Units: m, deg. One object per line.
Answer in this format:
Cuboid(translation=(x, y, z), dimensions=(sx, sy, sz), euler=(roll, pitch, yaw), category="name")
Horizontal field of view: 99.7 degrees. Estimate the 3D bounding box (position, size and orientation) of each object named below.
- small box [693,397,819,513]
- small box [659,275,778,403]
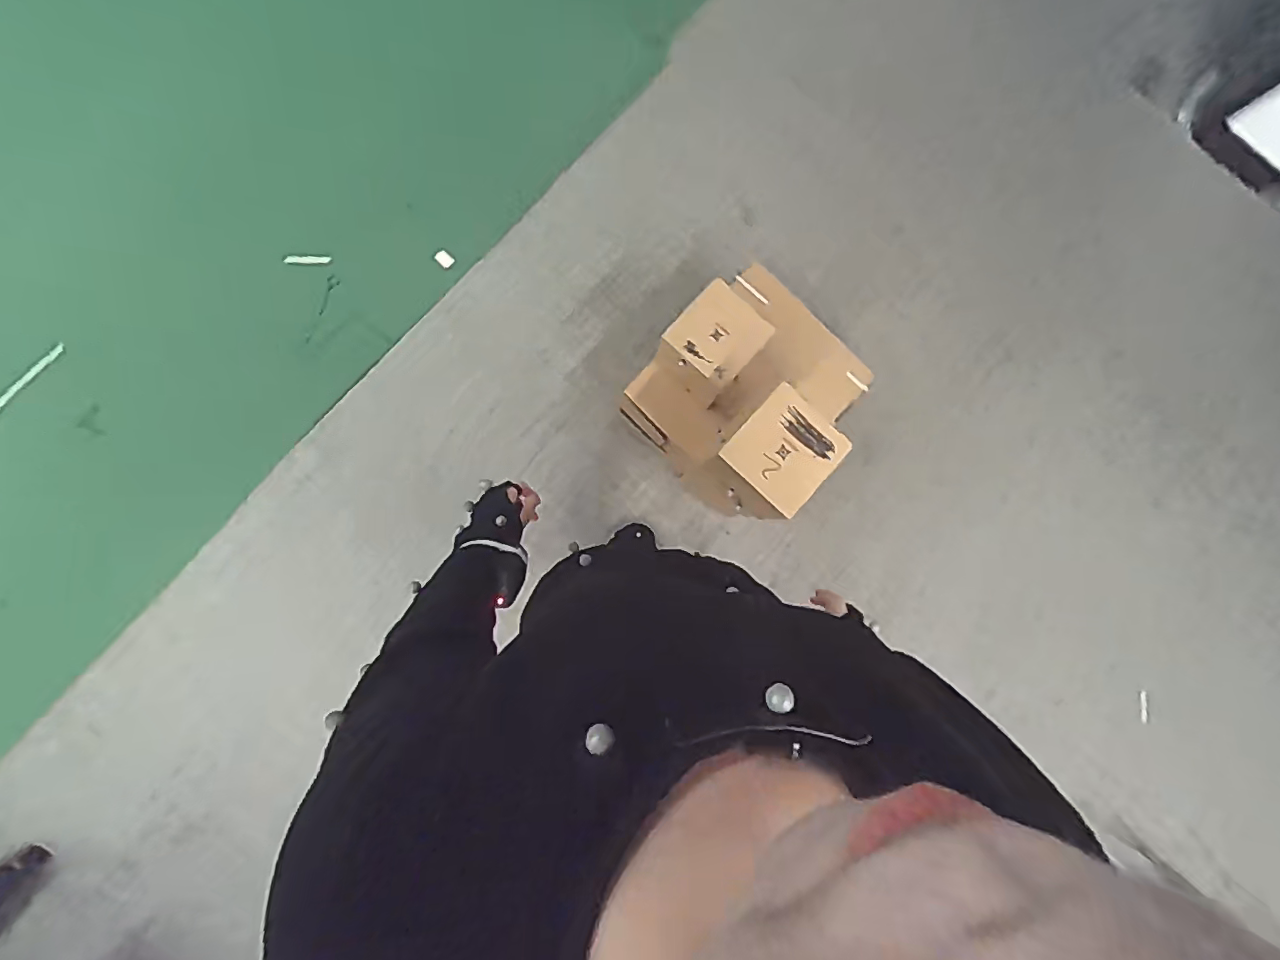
Cuboid(translation=(0.236, -0.046, 1.146), dimensions=(0.179, 0.176, 0.168), euler=(42, 84, 0), category="small box")
Cuboid(translation=(0.157, -0.292, 1.159), dimensions=(0.168, 0.176, 0.179), euler=(43, 83, 0), category="small box")
